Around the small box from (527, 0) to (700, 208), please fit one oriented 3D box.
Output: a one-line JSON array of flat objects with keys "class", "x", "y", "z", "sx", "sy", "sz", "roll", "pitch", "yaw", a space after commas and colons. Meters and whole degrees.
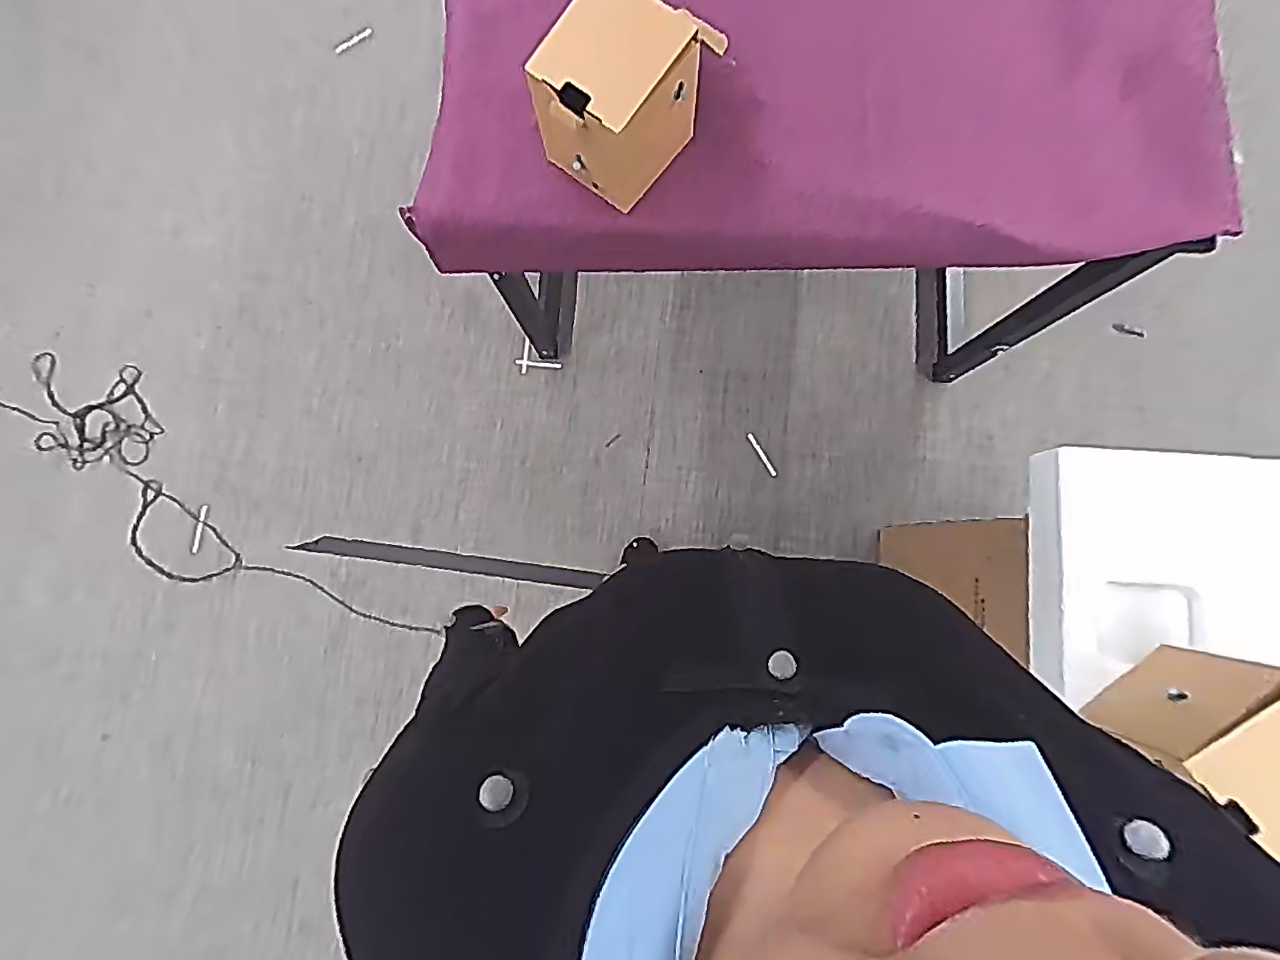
[{"class": "small box", "x": -0.034, "y": -0.552, "z": 0.792, "sx": 0.168, "sy": 0.176, "sz": 0.179, "roll": 38, "pitch": 85, "yaw": 7}]
